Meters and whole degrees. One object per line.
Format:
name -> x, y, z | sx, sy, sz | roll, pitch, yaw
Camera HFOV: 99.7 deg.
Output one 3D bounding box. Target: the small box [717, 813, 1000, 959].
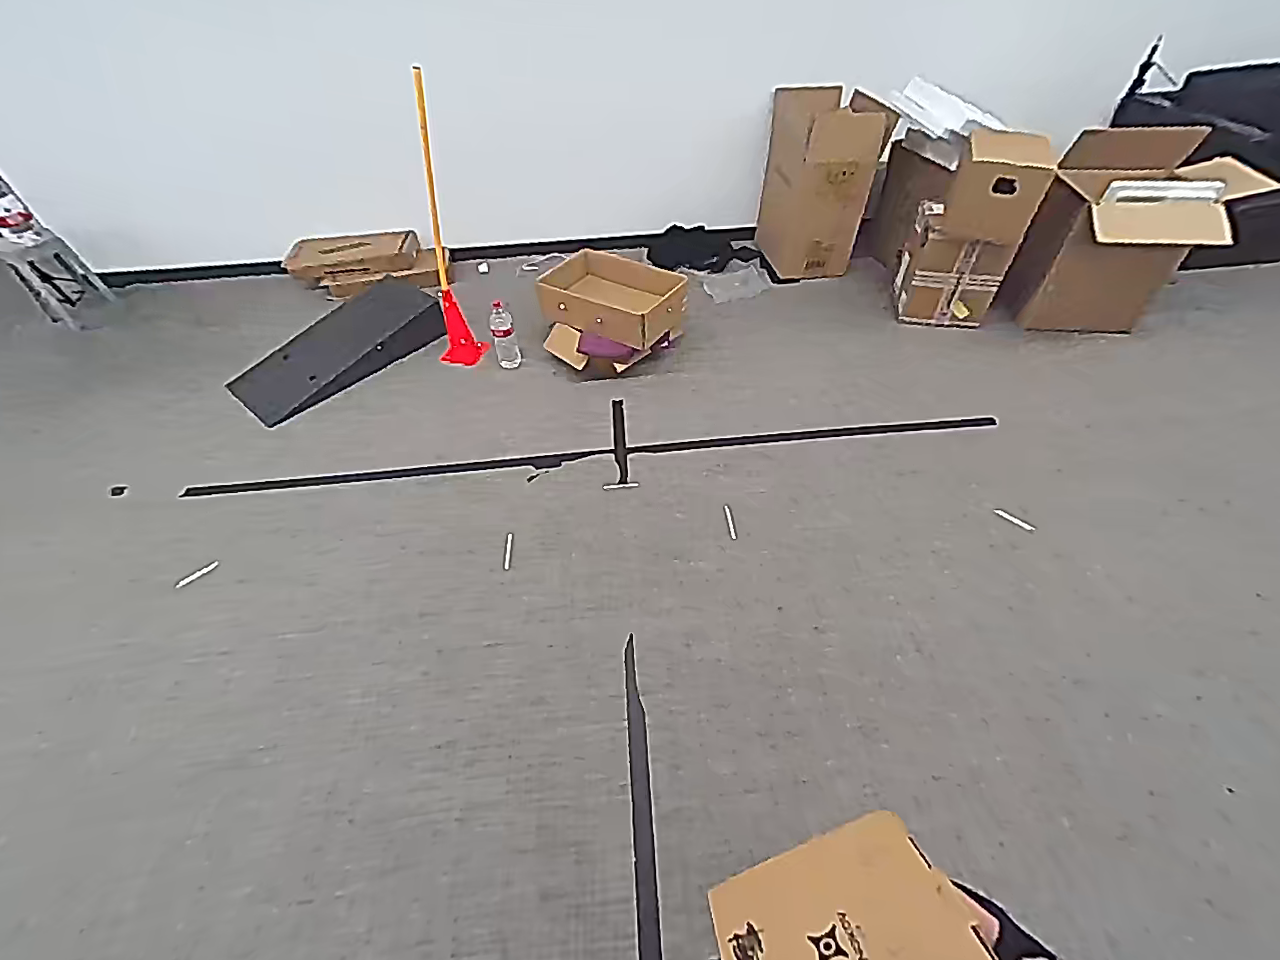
small box -> 0.180, 0.409, 0.407 | 0.179, 0.176, 0.168 | -23, 9, 0
